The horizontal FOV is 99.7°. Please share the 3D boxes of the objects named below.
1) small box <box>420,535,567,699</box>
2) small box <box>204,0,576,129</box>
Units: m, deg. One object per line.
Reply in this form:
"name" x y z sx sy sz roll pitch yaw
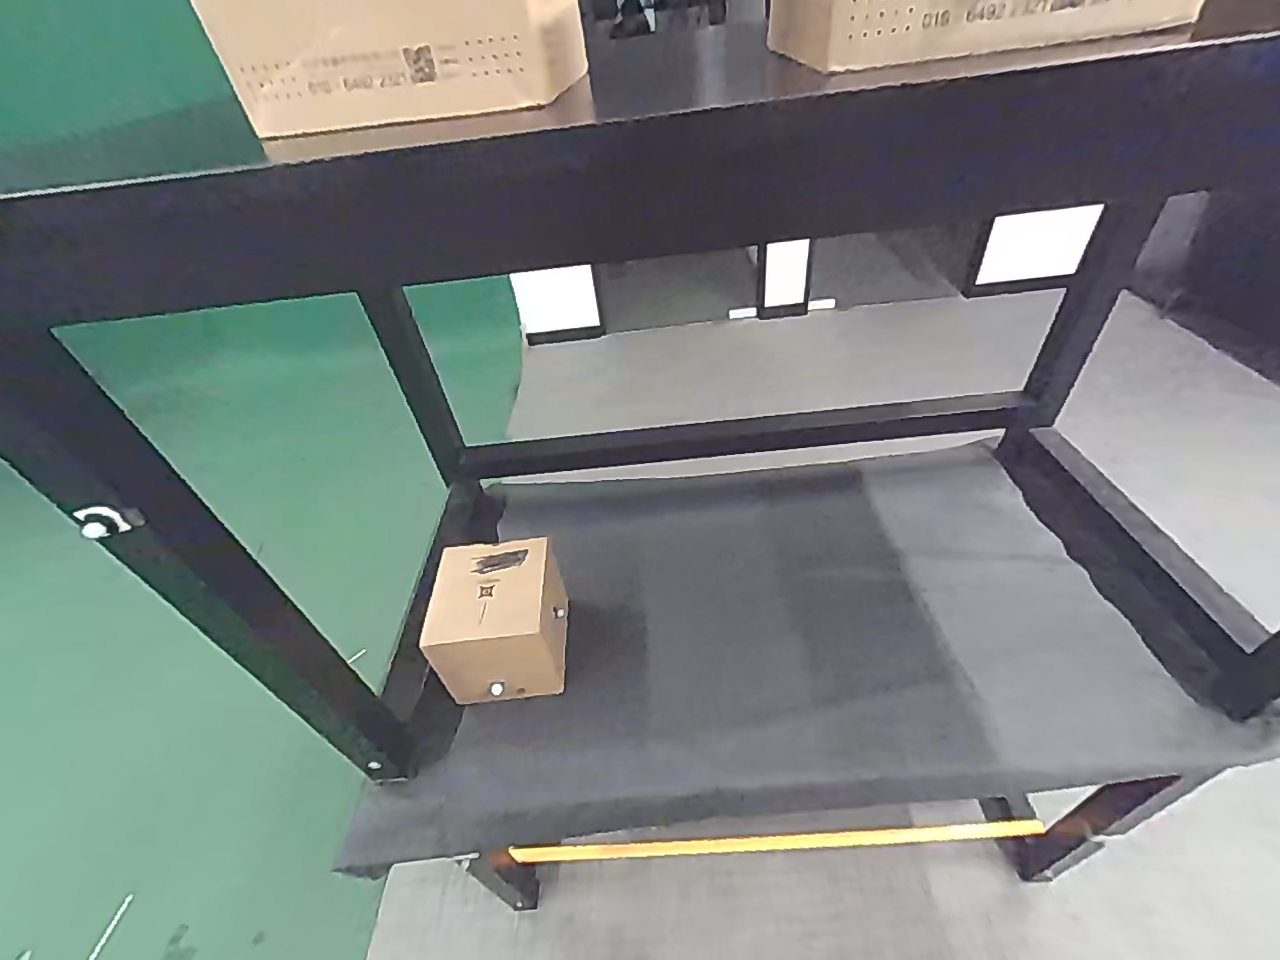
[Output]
"small box" -0.209 0.209 0.832 0.168 0.176 0.179 -7 41 1
"small box" -0.138 -0.312 0.305 0.168 0.176 0.179 -3 41 6
